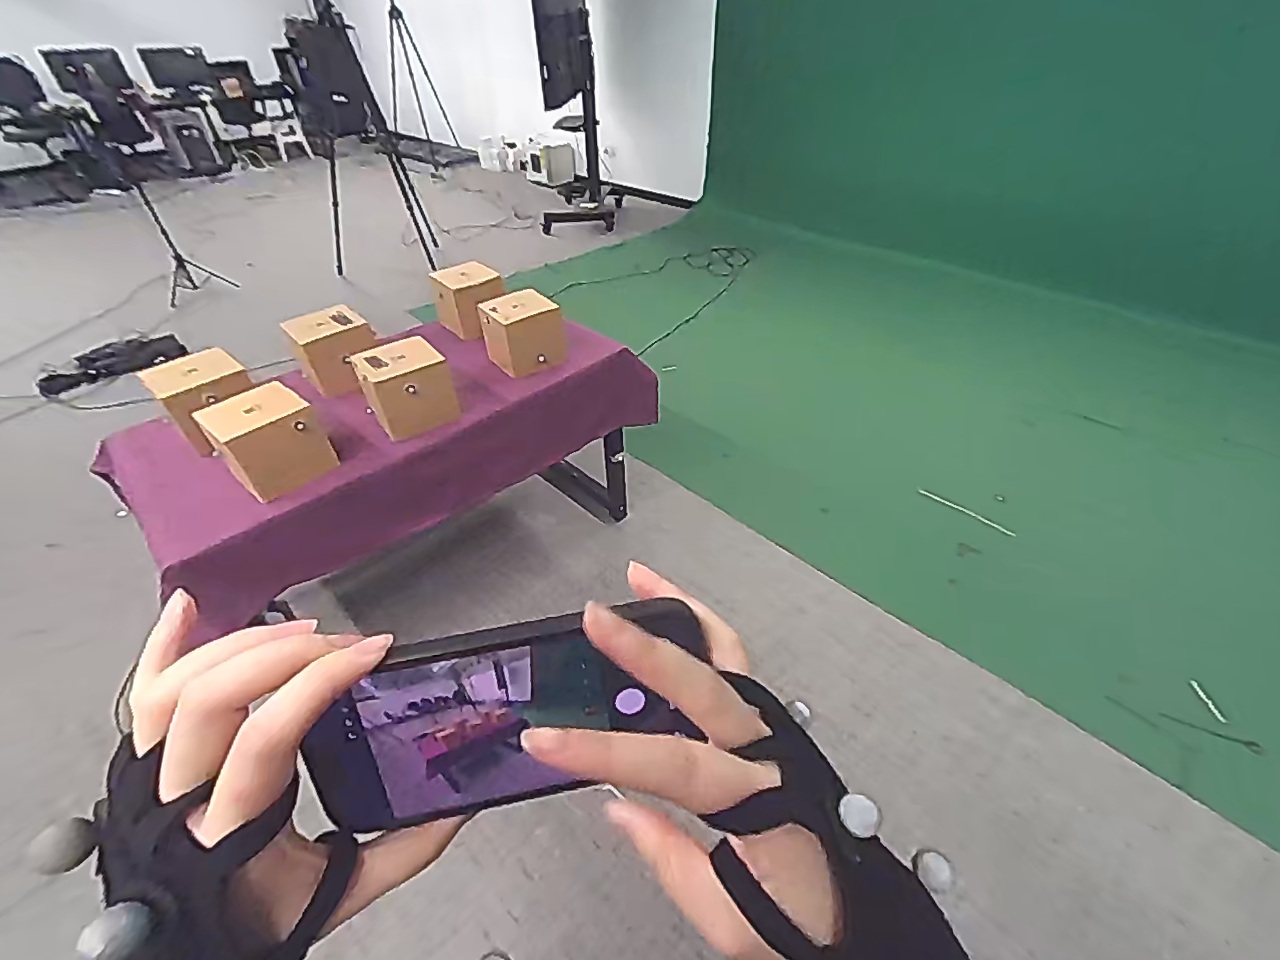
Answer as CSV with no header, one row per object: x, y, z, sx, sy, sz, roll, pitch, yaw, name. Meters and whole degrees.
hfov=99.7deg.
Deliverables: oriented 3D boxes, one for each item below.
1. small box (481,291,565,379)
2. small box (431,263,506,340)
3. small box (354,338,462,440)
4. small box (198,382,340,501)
-0.328,-0.414,1.546,0.179,0.176,0.168,-27,47,-27,small box
-0.536,-0.568,1.723,0.168,0.176,0.179,-31,50,-29,small box
-0.567,-0.224,1.335,0.179,0.176,0.168,-28,48,-28,small box
-0.800,-0.083,1.180,0.168,0.176,0.179,28,47,29,small box
